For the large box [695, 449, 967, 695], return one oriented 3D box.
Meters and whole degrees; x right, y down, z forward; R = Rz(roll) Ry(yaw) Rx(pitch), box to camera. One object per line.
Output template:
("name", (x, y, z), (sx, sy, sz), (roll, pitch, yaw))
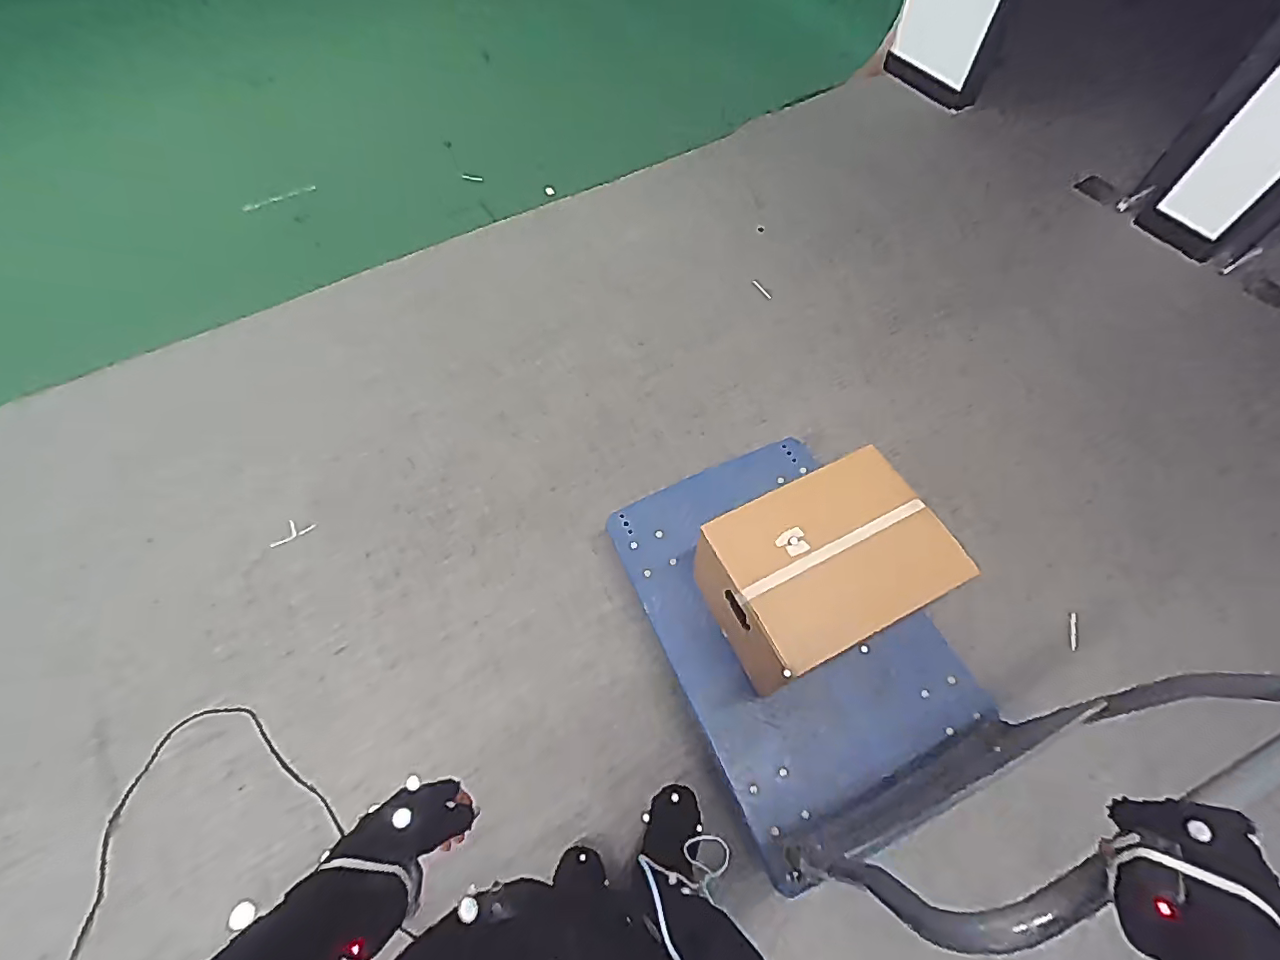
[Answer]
("large box", (0.365, 0.204, 1.143), (0.408, 0.320, 0.320), (-25, 63, -10))
